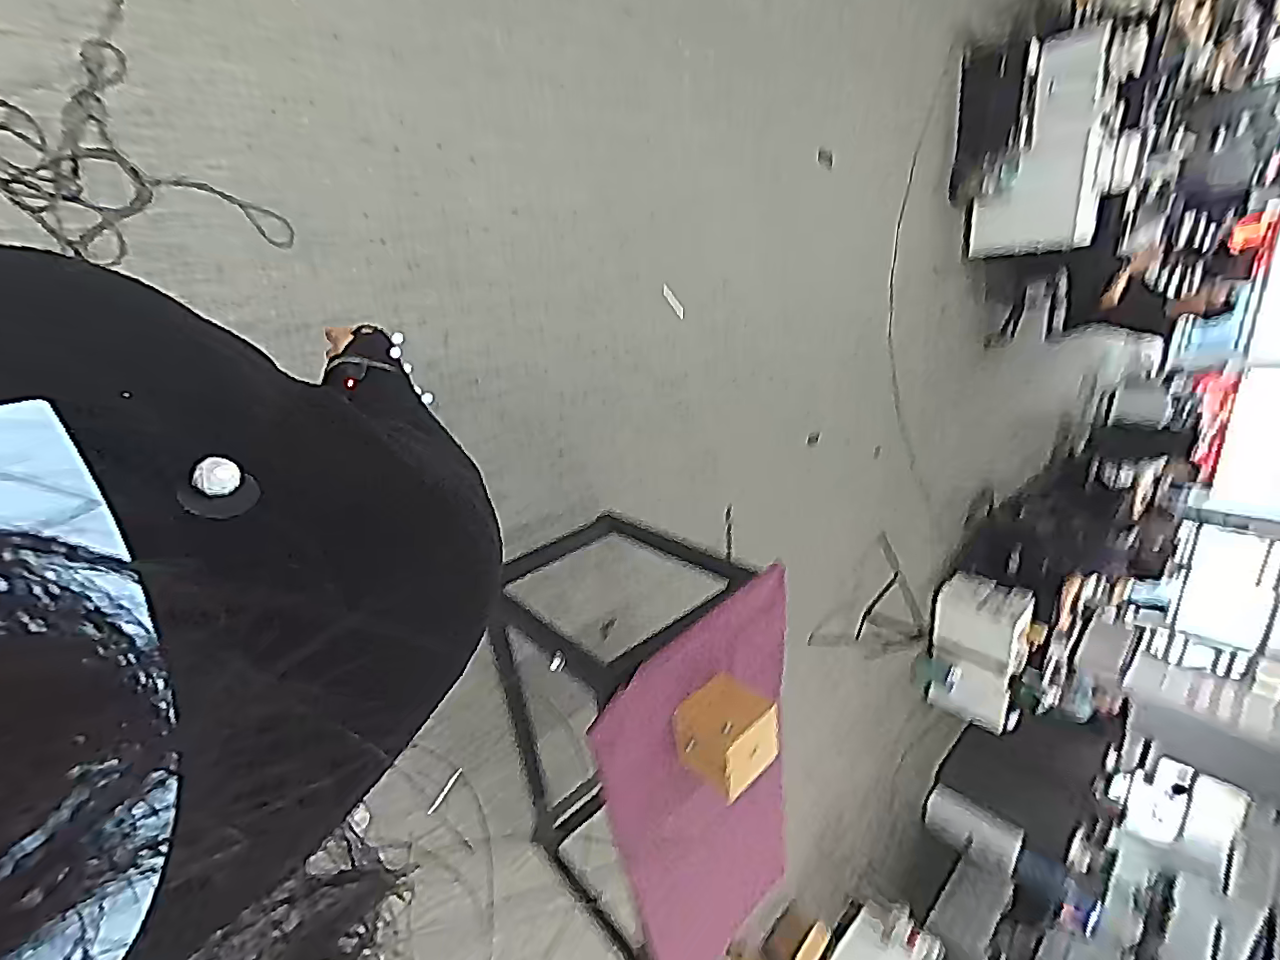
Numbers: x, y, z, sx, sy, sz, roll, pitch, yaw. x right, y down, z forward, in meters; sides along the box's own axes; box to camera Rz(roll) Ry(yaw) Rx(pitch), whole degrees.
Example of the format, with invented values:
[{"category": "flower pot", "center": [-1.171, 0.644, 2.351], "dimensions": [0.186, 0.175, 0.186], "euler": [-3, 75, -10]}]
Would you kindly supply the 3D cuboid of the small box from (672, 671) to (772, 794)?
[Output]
[{"category": "small box", "center": [0.200, 0.599, 1.310], "dimensions": [0.179, 0.176, 0.168], "euler": [-24, 117, -34]}]
